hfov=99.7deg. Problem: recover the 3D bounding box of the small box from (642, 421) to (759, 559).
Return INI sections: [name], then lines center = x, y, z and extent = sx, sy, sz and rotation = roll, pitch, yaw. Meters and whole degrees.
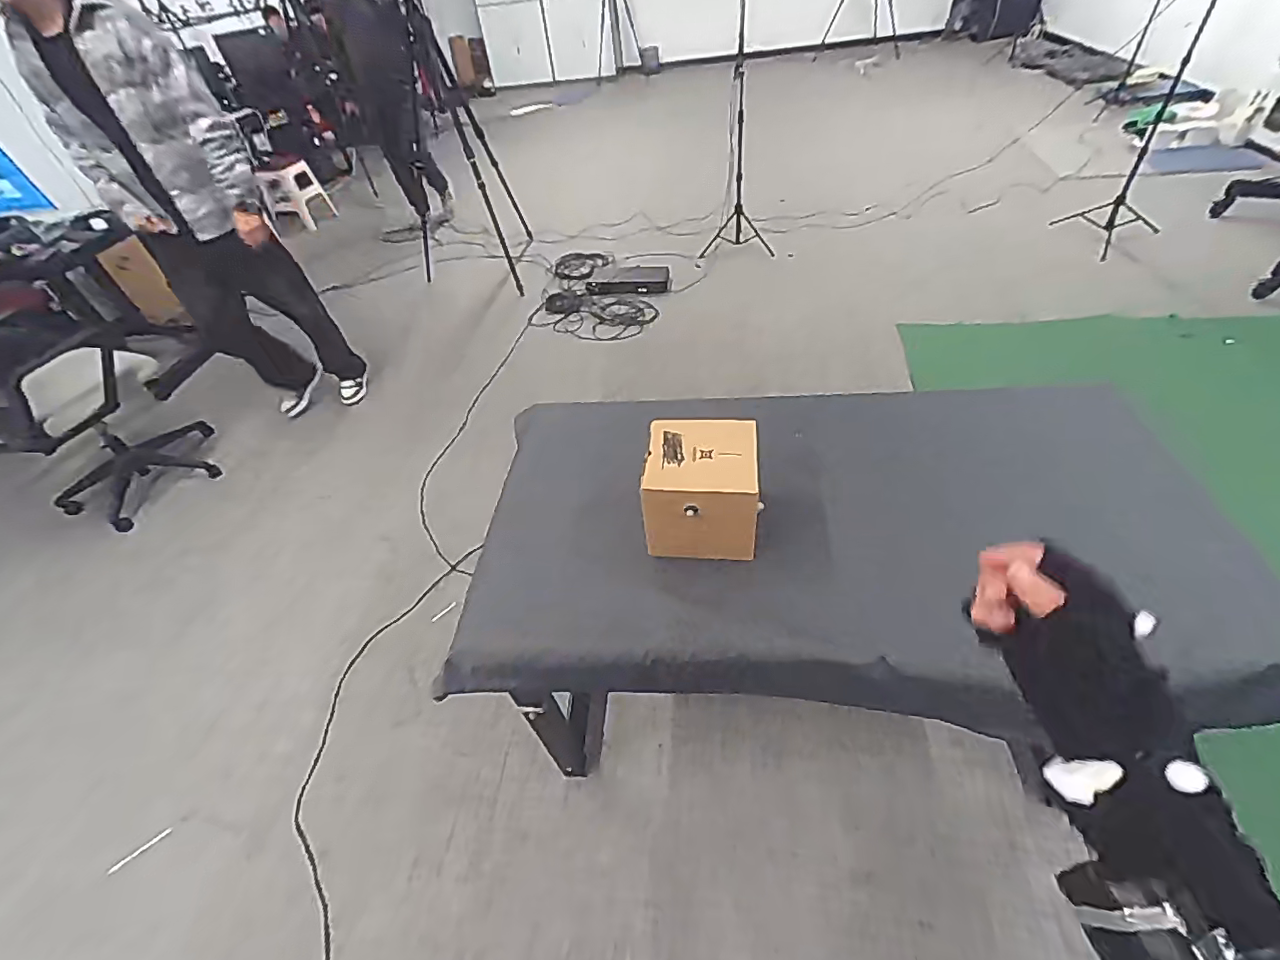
[small box]
center = 0.106, 0.018, 0.909
extent = 0.179, 0.176, 0.168
rotation = 2, 46, 9
